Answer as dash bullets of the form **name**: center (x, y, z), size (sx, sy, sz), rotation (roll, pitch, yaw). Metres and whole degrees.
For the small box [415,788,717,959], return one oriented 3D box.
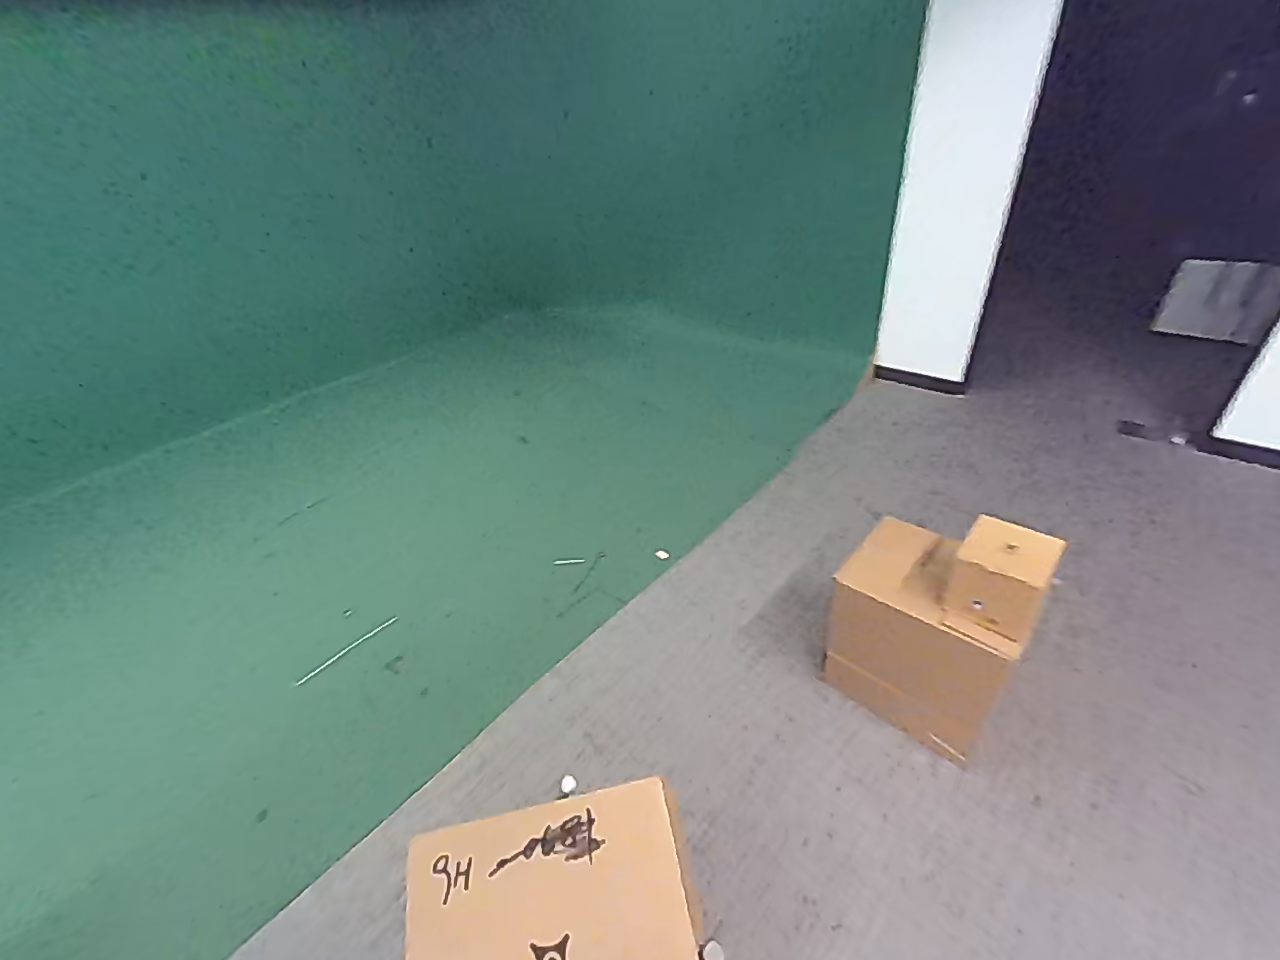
- **small box**: center (-0.035, 0.322, 0.366), size (0.168, 0.176, 0.179), rotation (-13, 59, -1)

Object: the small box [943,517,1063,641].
- **small box**: center (0.804, 0.218, 1.210), size (0.168, 0.176, 0.179), rotation (23, 46, 38)
